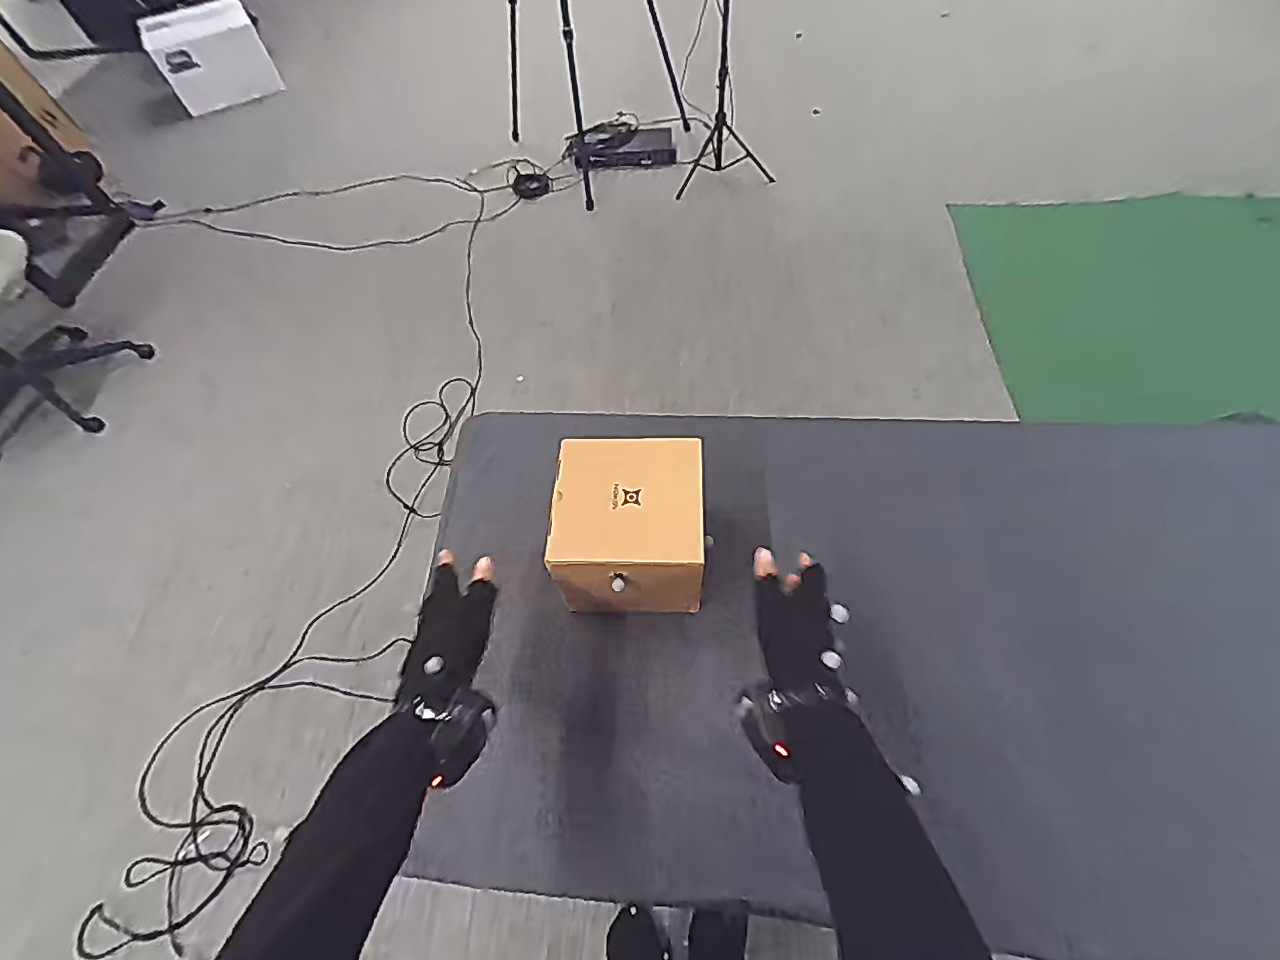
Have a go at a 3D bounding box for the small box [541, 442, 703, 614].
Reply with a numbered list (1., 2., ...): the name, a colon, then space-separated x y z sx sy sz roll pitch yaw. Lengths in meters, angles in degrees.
1. small box: -0.012 0.065 0.689 0.179 0.176 0.168 -1 59 5
